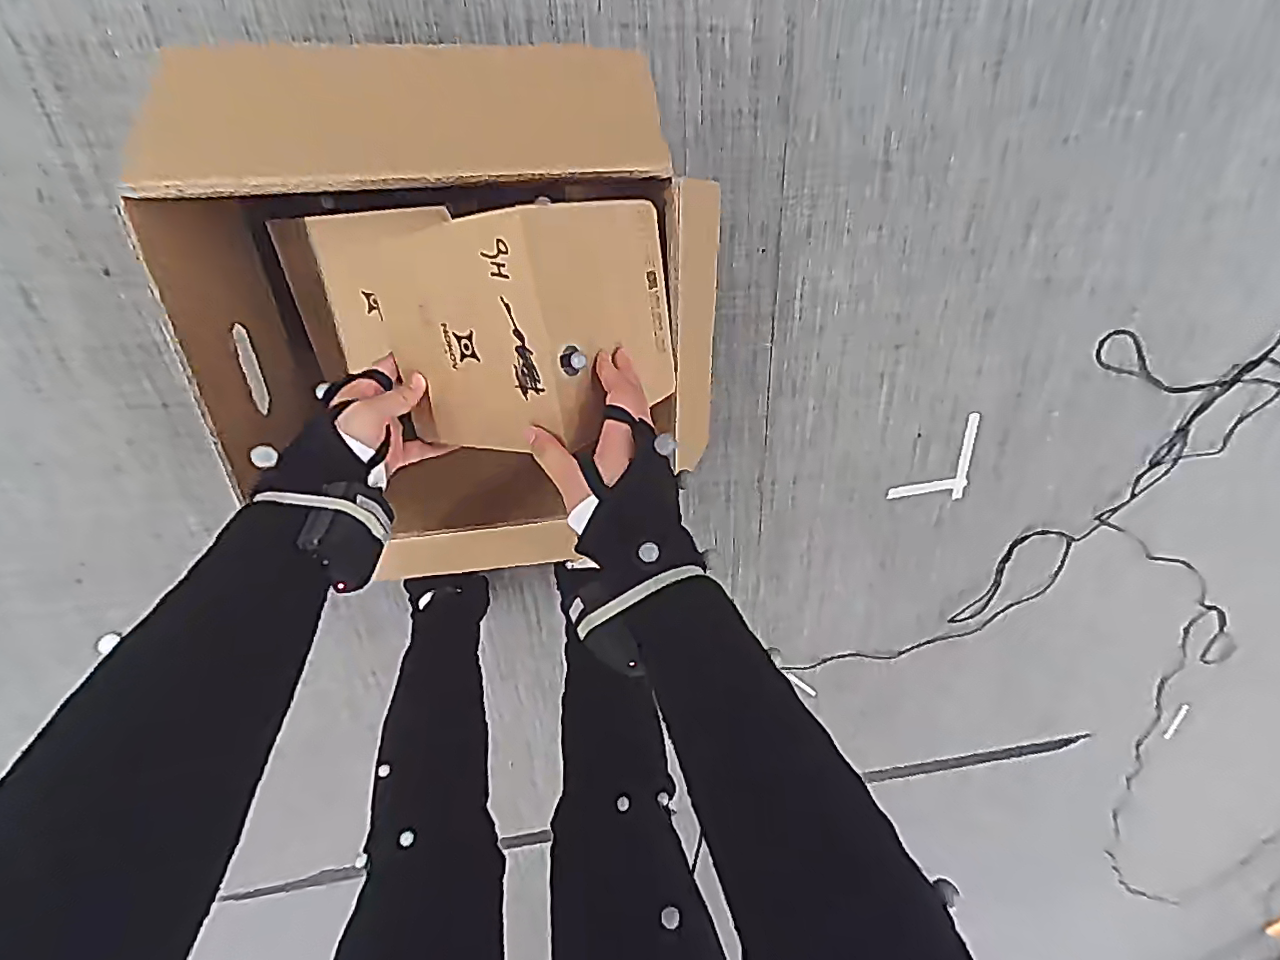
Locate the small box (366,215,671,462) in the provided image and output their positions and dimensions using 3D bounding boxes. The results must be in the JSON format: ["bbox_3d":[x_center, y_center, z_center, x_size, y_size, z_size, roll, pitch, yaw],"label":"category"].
[{"bbox_3d":[-0.093,-0.129,0.472,0.179,0.176,0.168,8,118,33],"label":"small box"}]
